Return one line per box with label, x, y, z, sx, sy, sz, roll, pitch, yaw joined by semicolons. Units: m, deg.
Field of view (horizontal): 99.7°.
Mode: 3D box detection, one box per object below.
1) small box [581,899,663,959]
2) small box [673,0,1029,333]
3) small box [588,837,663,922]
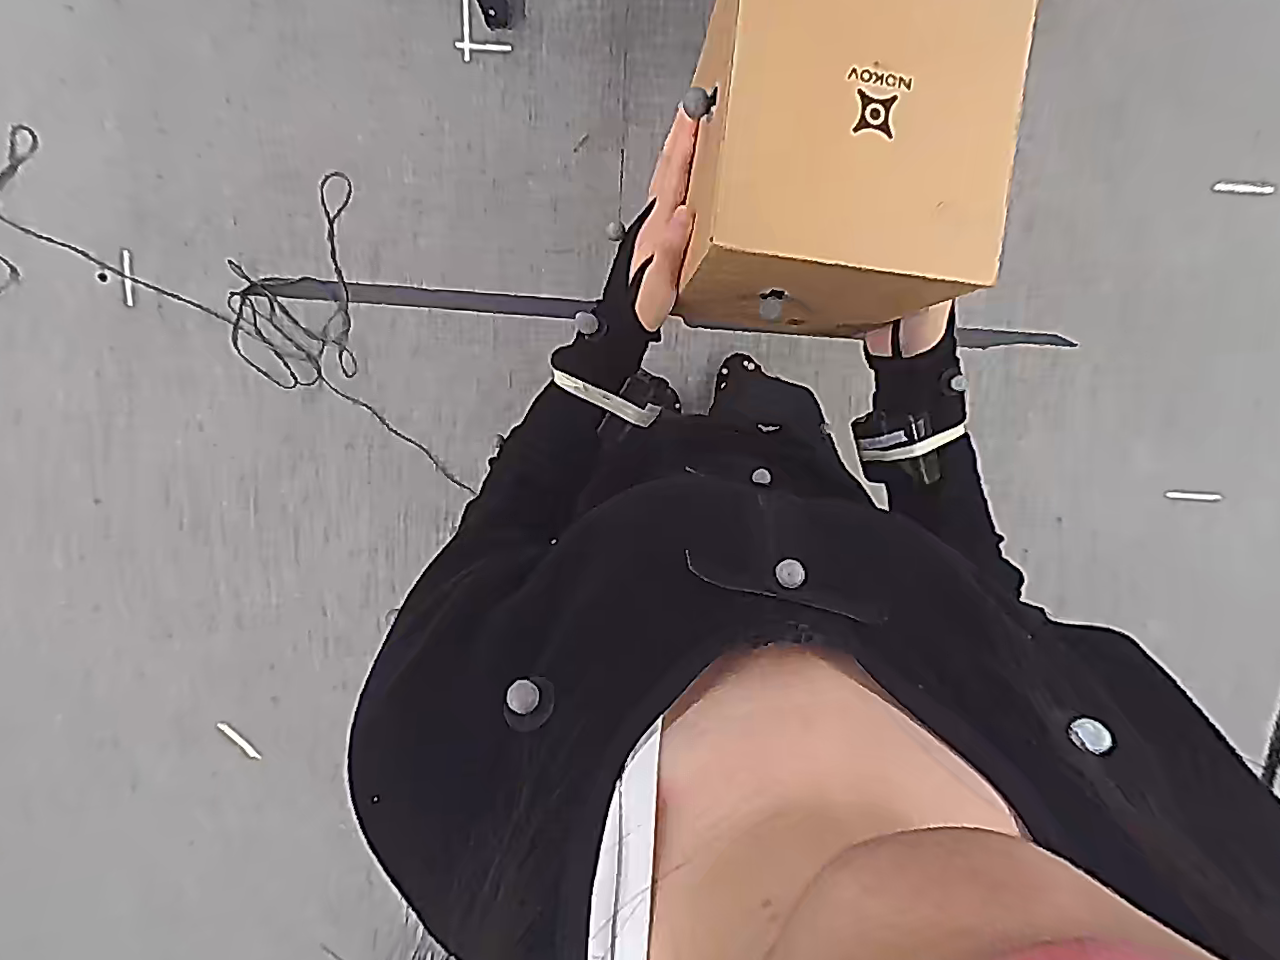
small box;-0.036;1.006;1.113;0.168;0.176;0.179;-1;100;1
small box;0.120;-0.210;0.377;0.168;0.176;0.179;5;93;-6
small box;-0.033;0.985;1.273;0.168;0.176;0.179;0;98;-1
